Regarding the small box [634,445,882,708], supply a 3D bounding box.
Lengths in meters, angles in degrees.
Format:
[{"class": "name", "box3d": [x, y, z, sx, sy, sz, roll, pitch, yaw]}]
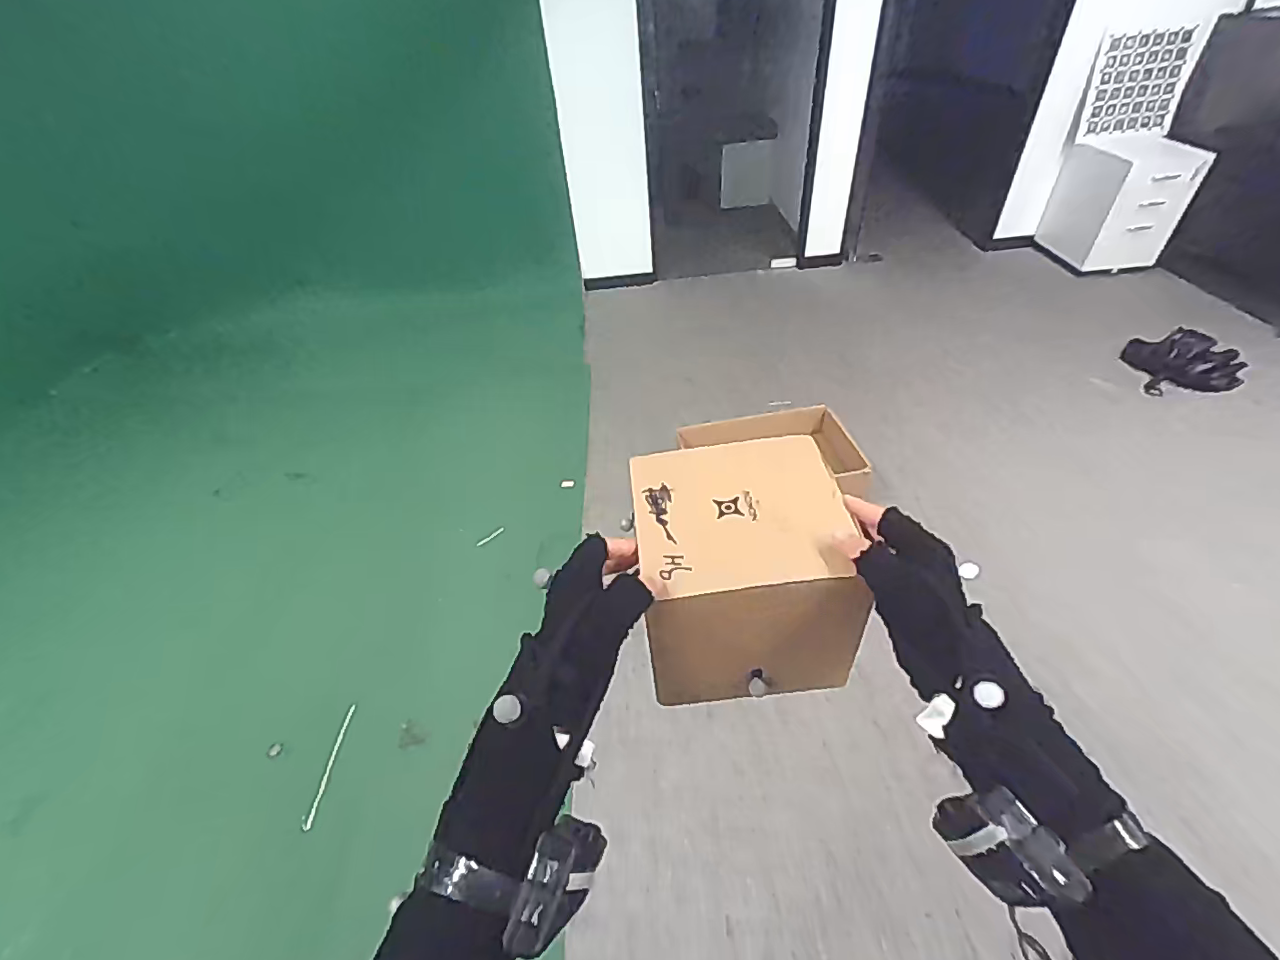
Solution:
[{"class": "small box", "box3d": [0.090, 0.089, 0.500, 0.179, 0.176, 0.168, -6, 40, 0]}]
